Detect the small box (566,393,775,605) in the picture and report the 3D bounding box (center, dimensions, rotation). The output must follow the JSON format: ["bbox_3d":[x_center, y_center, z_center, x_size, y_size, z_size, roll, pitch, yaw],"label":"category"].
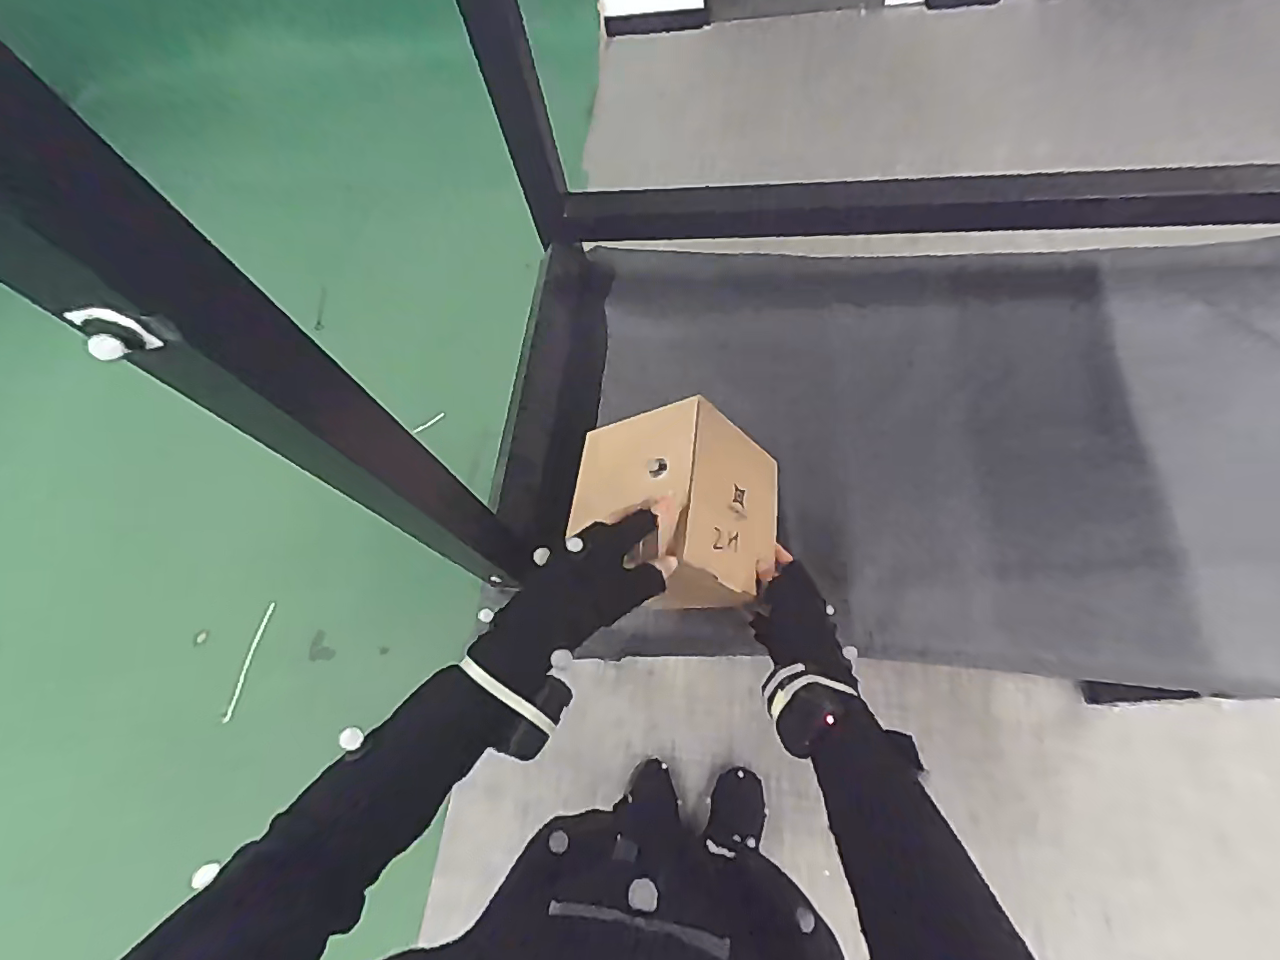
[{"bbox_3d":[0.037,0.034,0.612,0.176,0.168,0.179,-14,57,39],"label":"small box"}]
